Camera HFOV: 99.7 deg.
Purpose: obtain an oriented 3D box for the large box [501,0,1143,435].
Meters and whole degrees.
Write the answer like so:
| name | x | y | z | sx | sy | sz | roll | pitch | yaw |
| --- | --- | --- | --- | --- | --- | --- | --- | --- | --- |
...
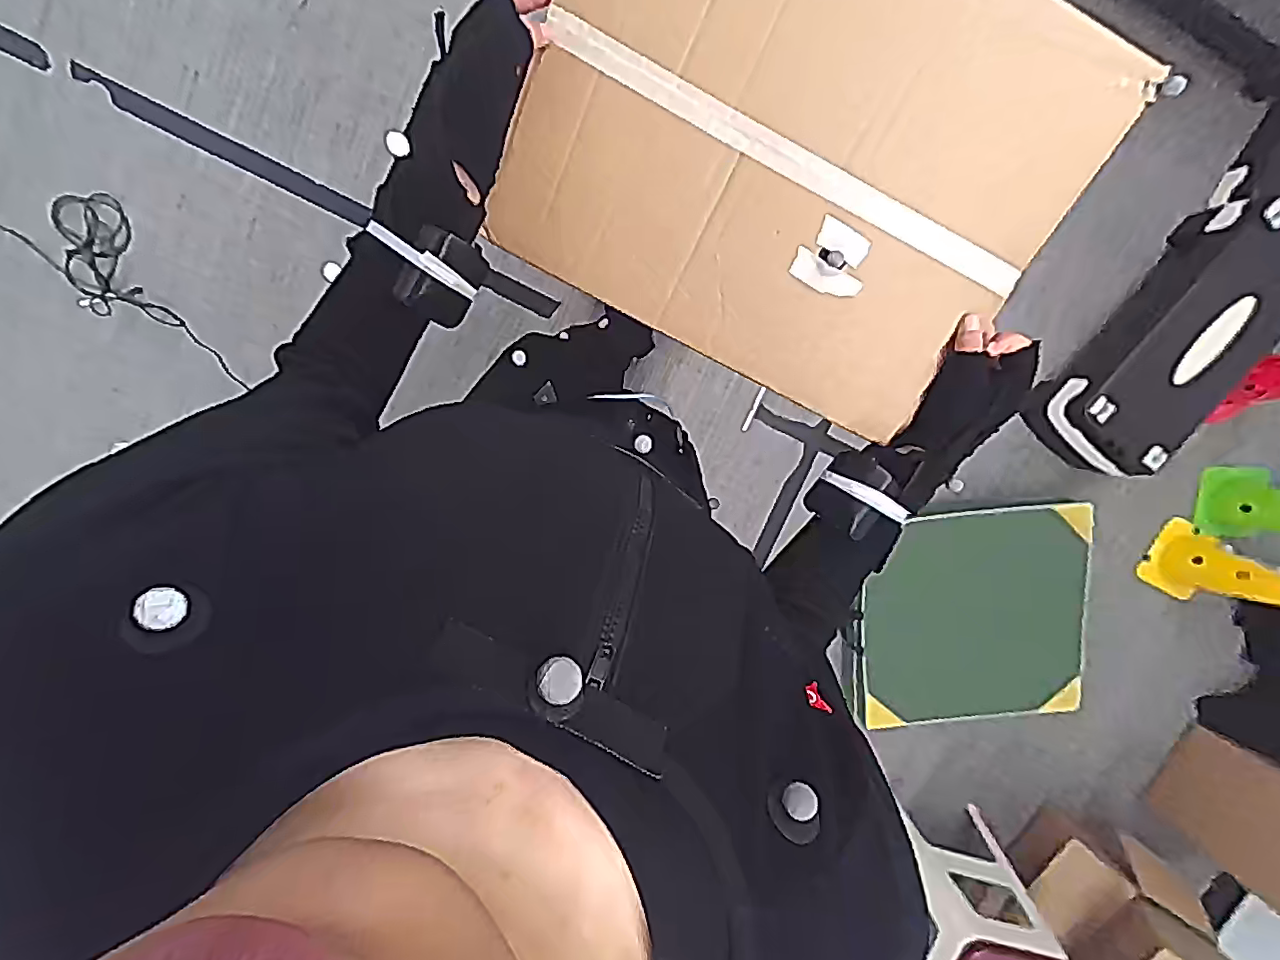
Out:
| name | x | y | z | sx | sy | sz | roll | pitch | yaw |
| --- | --- | --- | --- | --- | --- | --- | --- | --- | --- |
| large box | 0.130 | -0.303 | 0.561 | 0.408 | 0.320 | 0.320 | 26 | 113 | -7 |
